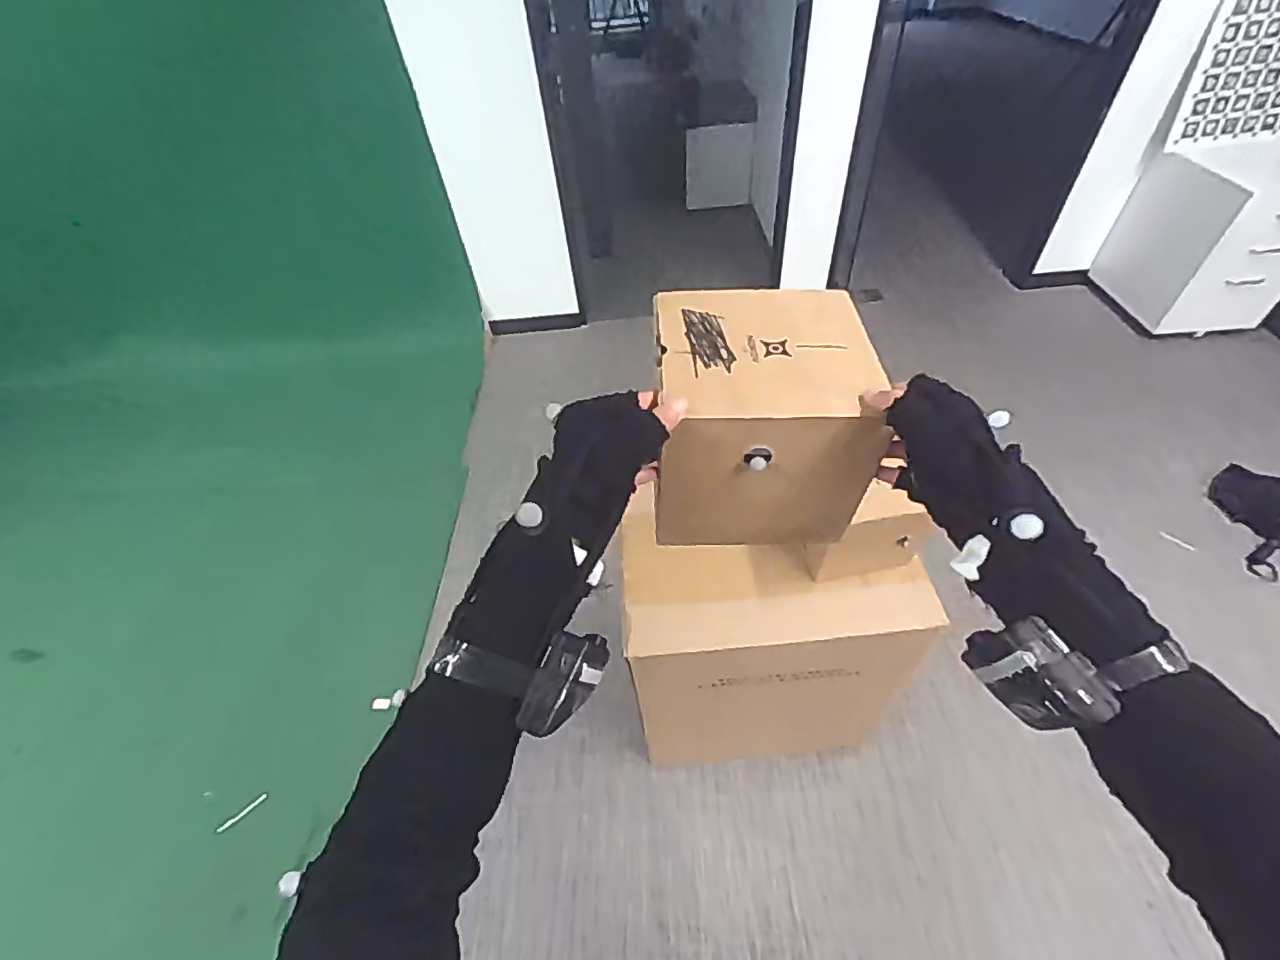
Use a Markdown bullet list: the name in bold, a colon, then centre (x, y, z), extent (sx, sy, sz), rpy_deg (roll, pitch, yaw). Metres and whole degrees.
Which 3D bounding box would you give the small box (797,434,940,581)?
- **small box**: centre (0.365, 0.050, 0.926), extent (0.179, 0.176, 0.168), rpy_deg (-13, 50, -3)

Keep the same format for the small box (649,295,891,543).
- **small box**: centre (0.099, -0.052, 0.505), extent (0.179, 0.176, 0.168), rpy_deg (-1, 50, 0)
